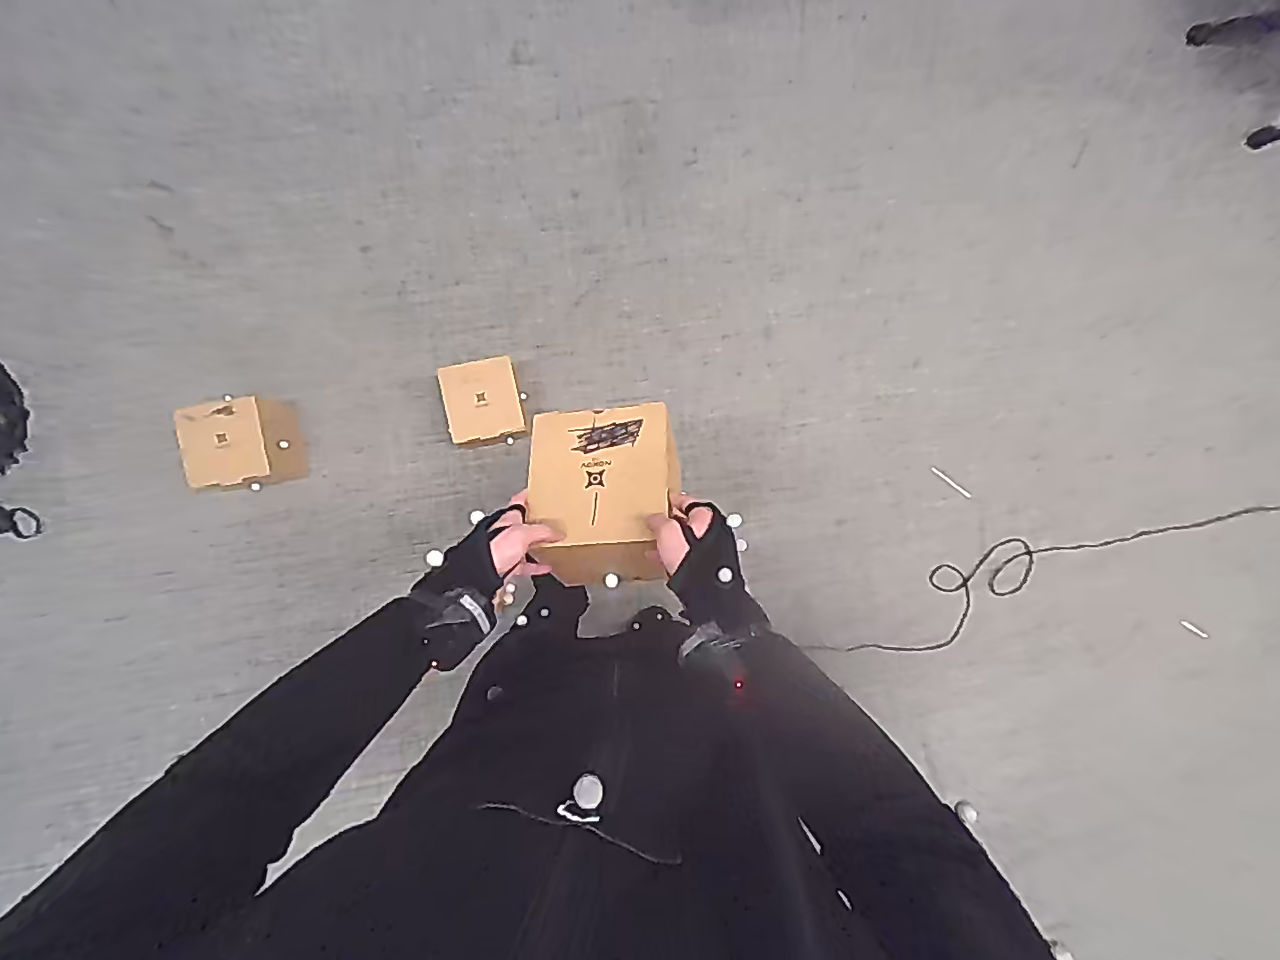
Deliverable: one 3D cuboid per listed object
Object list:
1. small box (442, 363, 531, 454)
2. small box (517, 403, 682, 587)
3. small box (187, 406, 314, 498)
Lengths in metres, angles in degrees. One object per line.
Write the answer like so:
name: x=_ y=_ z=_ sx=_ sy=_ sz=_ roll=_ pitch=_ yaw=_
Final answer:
small box: x=-0.359 y=-0.163 z=1.308 sx=0.168 sy=0.176 sz=0.179 roll=-14 pitch=88 yaw=-7
small box: x=-0.039 y=0.026 z=0.686 sx=0.168 sy=0.176 sz=0.179 roll=-5 pitch=64 yaw=10
small box: x=-0.888 y=-0.061 z=1.251 sx=0.168 sy=0.176 sz=0.179 roll=-12 pitch=90 yaw=-7
